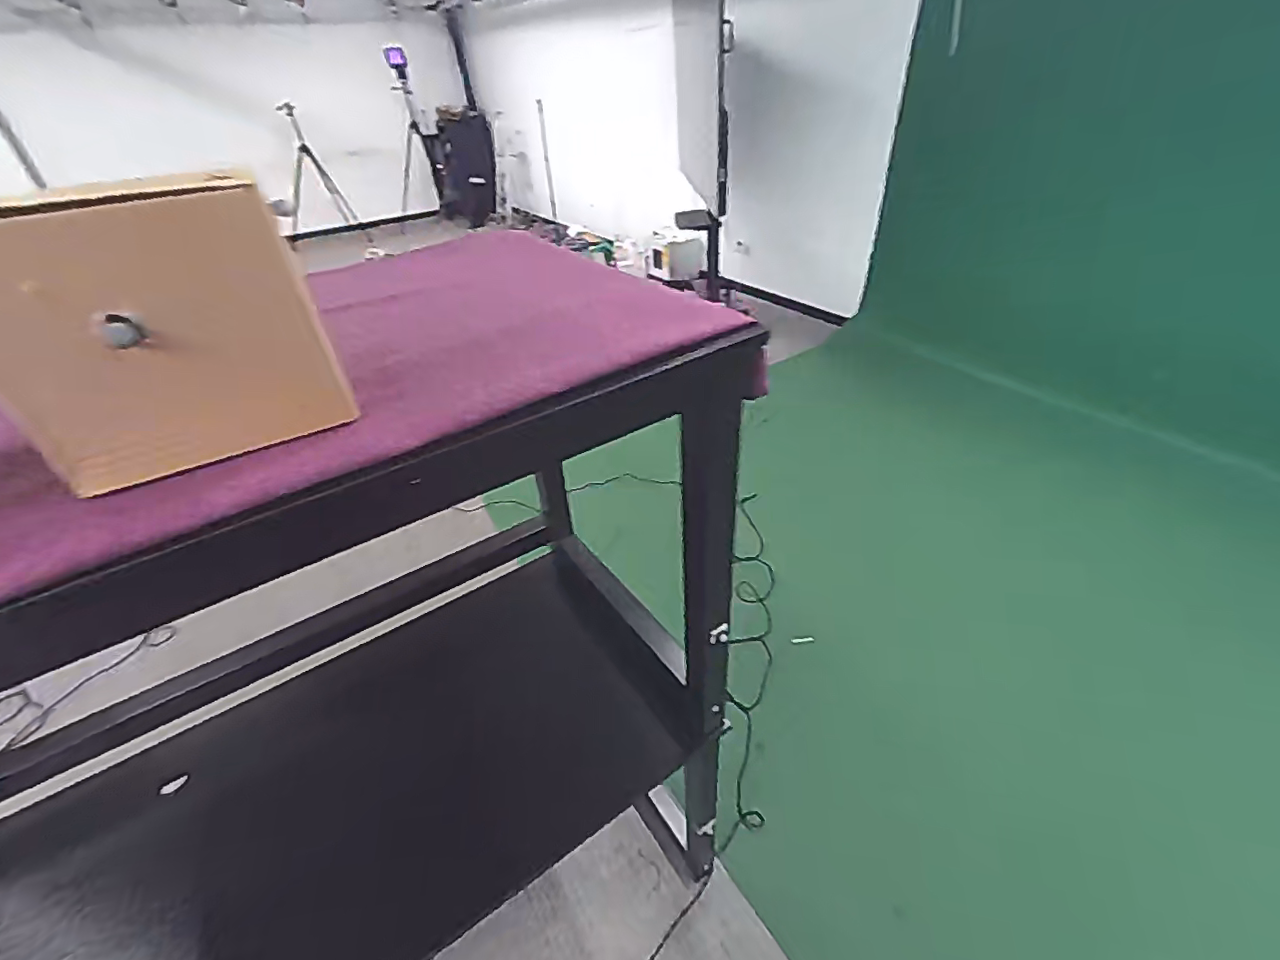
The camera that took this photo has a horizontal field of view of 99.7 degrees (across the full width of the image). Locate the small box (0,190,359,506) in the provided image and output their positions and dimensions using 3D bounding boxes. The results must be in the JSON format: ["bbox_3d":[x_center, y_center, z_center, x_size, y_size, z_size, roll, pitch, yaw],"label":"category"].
[{"bbox_3d":[-0.346,-0.107,0.411,0.179,0.176,0.168,-24,40,-22],"label":"small box"}]
